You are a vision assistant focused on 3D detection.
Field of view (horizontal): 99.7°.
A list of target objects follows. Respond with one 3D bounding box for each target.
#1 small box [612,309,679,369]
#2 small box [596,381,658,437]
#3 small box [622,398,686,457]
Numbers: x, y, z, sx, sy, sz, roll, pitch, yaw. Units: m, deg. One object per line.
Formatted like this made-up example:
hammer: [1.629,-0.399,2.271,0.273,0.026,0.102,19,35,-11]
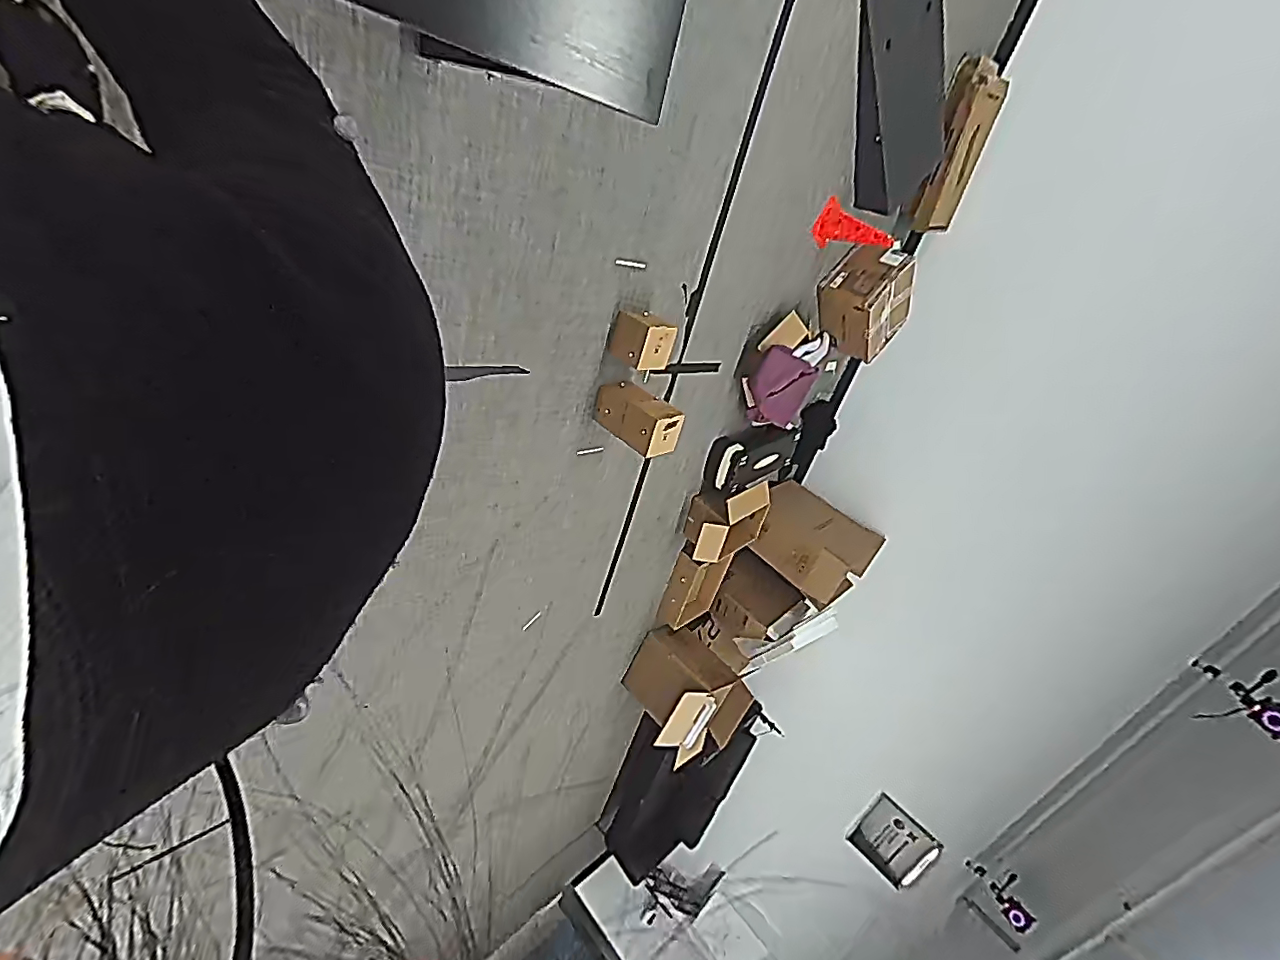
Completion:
small box: [0.015,-0.545,2.098,0.168,0.176,0.179,-14,131,-45]
small box: [-0.059,-0.300,2.250,0.179,0.176,0.168,-16,134,-42]
small box: [0.051,-0.218,2.157,0.168,0.176,0.179,-17,135,-43]
